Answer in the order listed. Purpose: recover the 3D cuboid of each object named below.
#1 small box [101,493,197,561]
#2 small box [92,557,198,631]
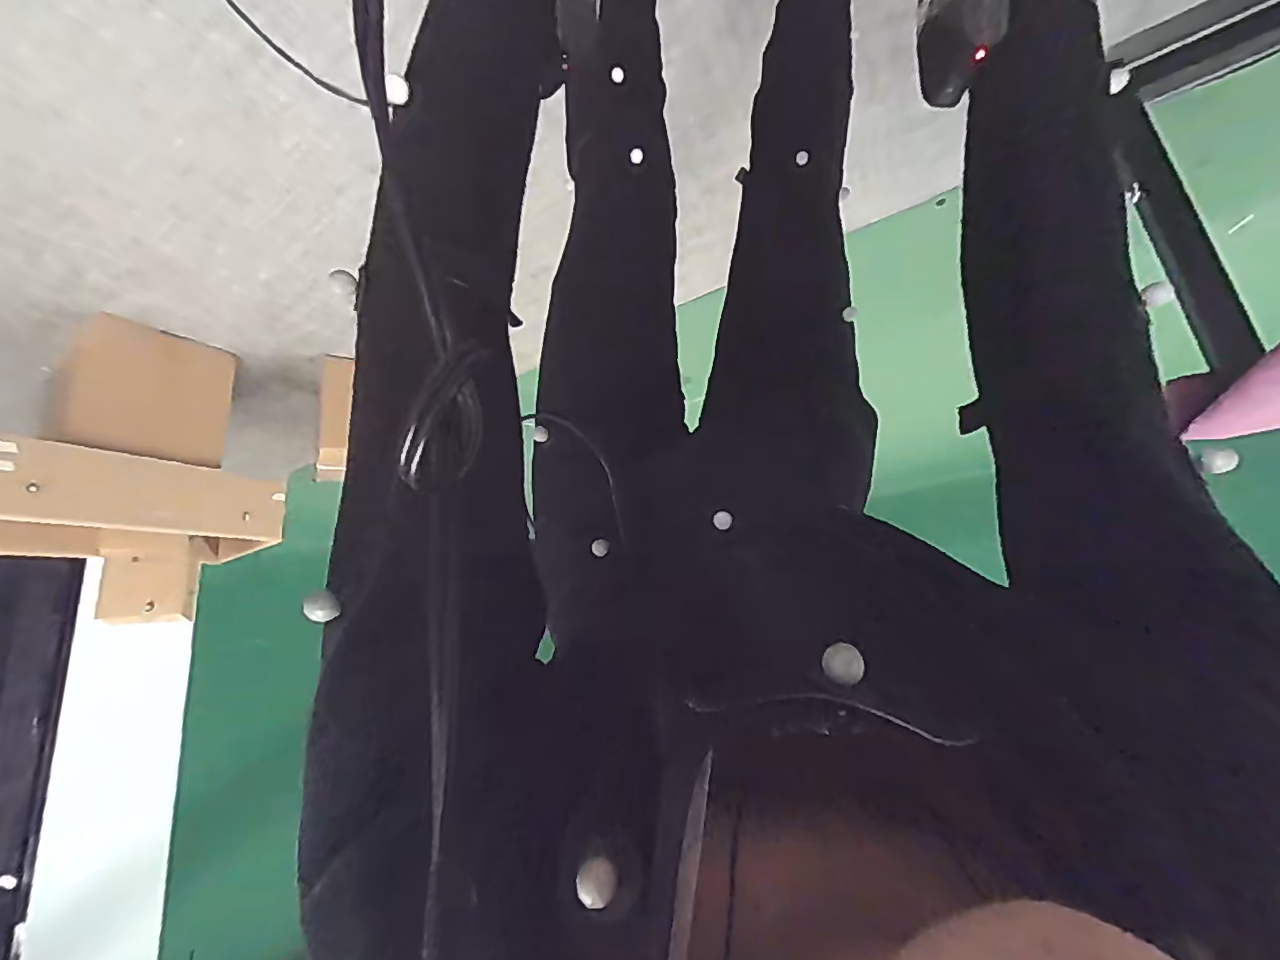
[{"bbox_3d":[-1.304,0.138,1.446,0.168,0.176,0.179,7,158,-35],"label":"small box"},{"bbox_3d":[-1.279,0.297,1.412,0.168,0.176,0.179,3,160,-30],"label":"small box"}]
